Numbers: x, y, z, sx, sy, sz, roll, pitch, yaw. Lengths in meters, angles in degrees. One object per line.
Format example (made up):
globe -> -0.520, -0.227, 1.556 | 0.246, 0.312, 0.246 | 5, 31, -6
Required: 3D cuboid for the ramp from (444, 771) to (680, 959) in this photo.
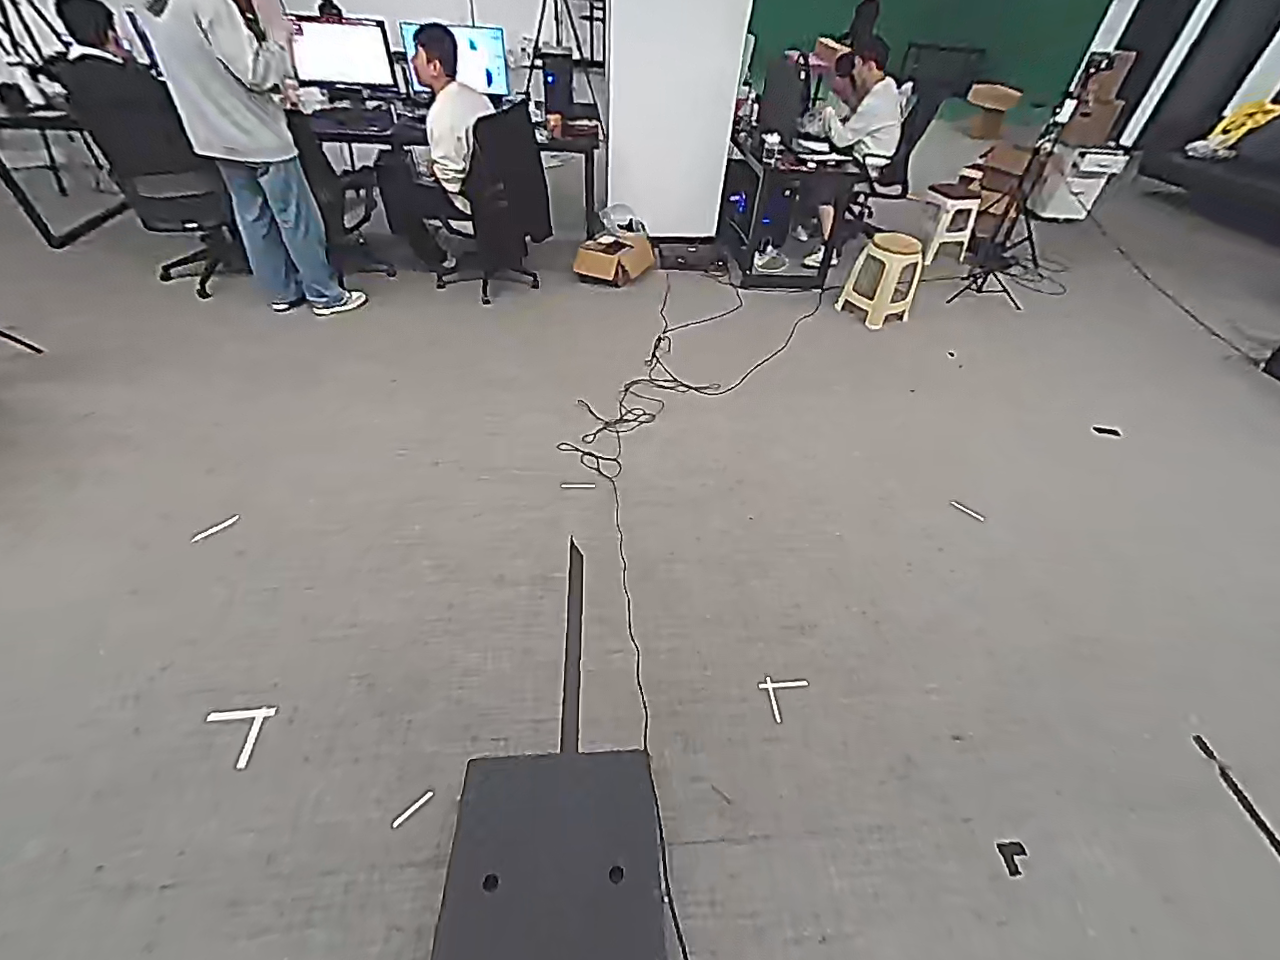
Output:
ramp -> -0.153, 1.062, 1.027 | 0.509, 0.206, 0.991 | -3, 42, -5
